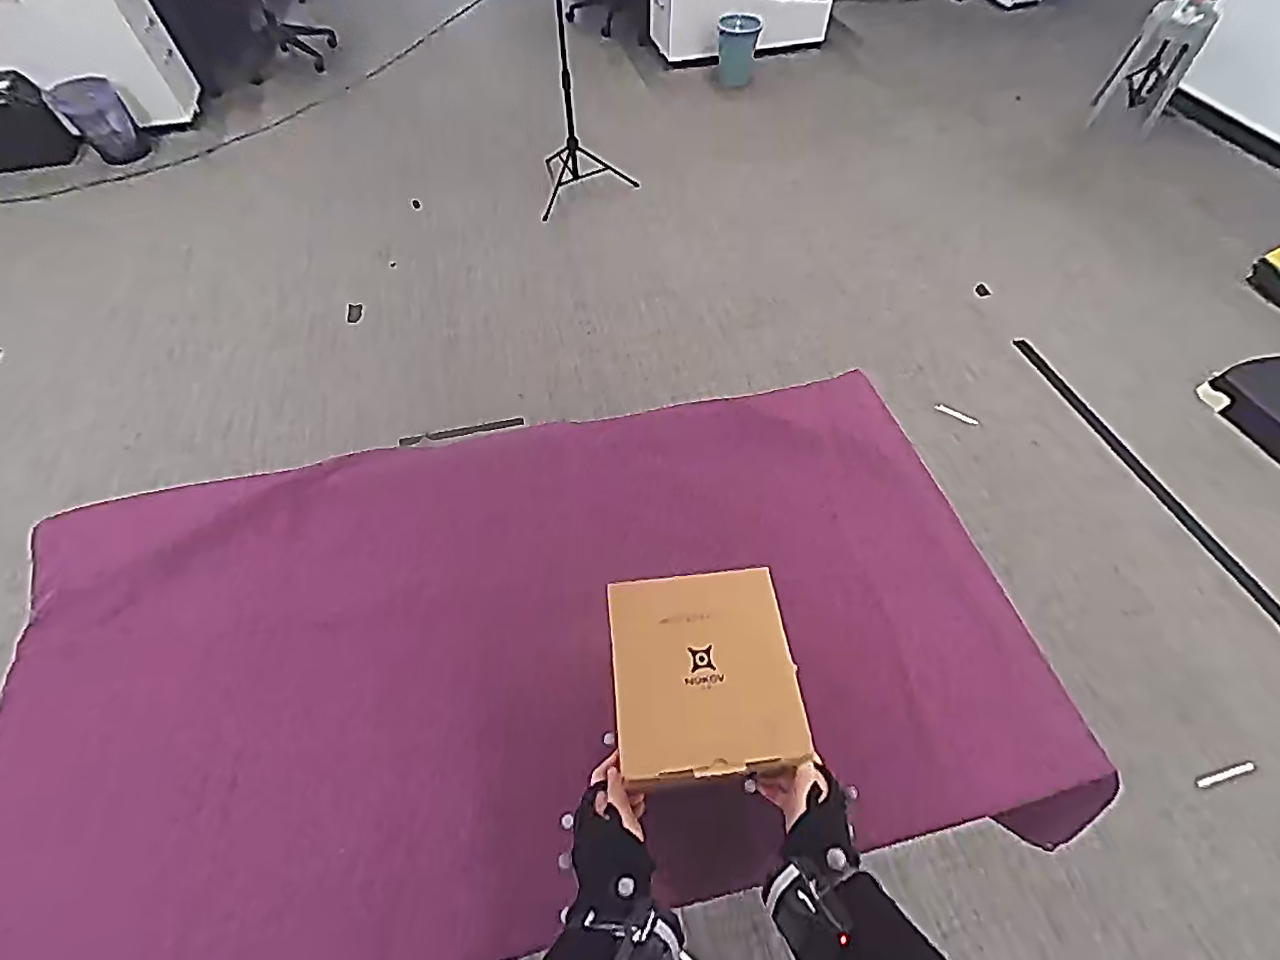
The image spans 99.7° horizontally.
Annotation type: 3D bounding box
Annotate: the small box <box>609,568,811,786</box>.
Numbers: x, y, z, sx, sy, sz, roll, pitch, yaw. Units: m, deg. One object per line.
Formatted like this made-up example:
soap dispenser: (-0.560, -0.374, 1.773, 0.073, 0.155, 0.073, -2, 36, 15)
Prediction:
small box: (0.058, 0.211, 0.562, 0.168, 0.176, 0.179, -5, 57, -3)
